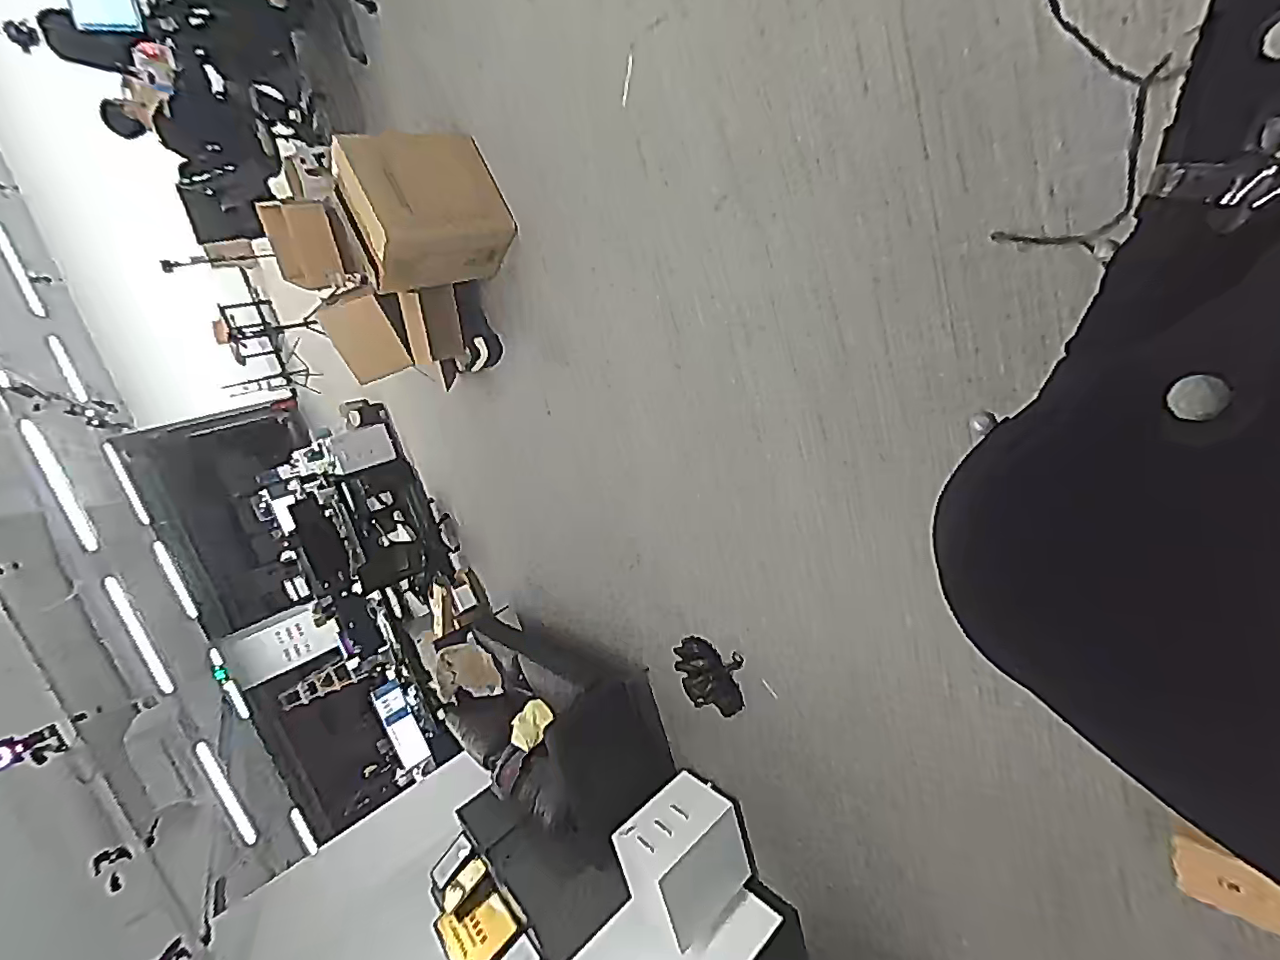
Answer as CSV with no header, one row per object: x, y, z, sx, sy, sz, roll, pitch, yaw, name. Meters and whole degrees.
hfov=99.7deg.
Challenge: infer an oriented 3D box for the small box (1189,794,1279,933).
1.332,0.828,1.173,0.179,0.176,0.168,1,112,52,small box
